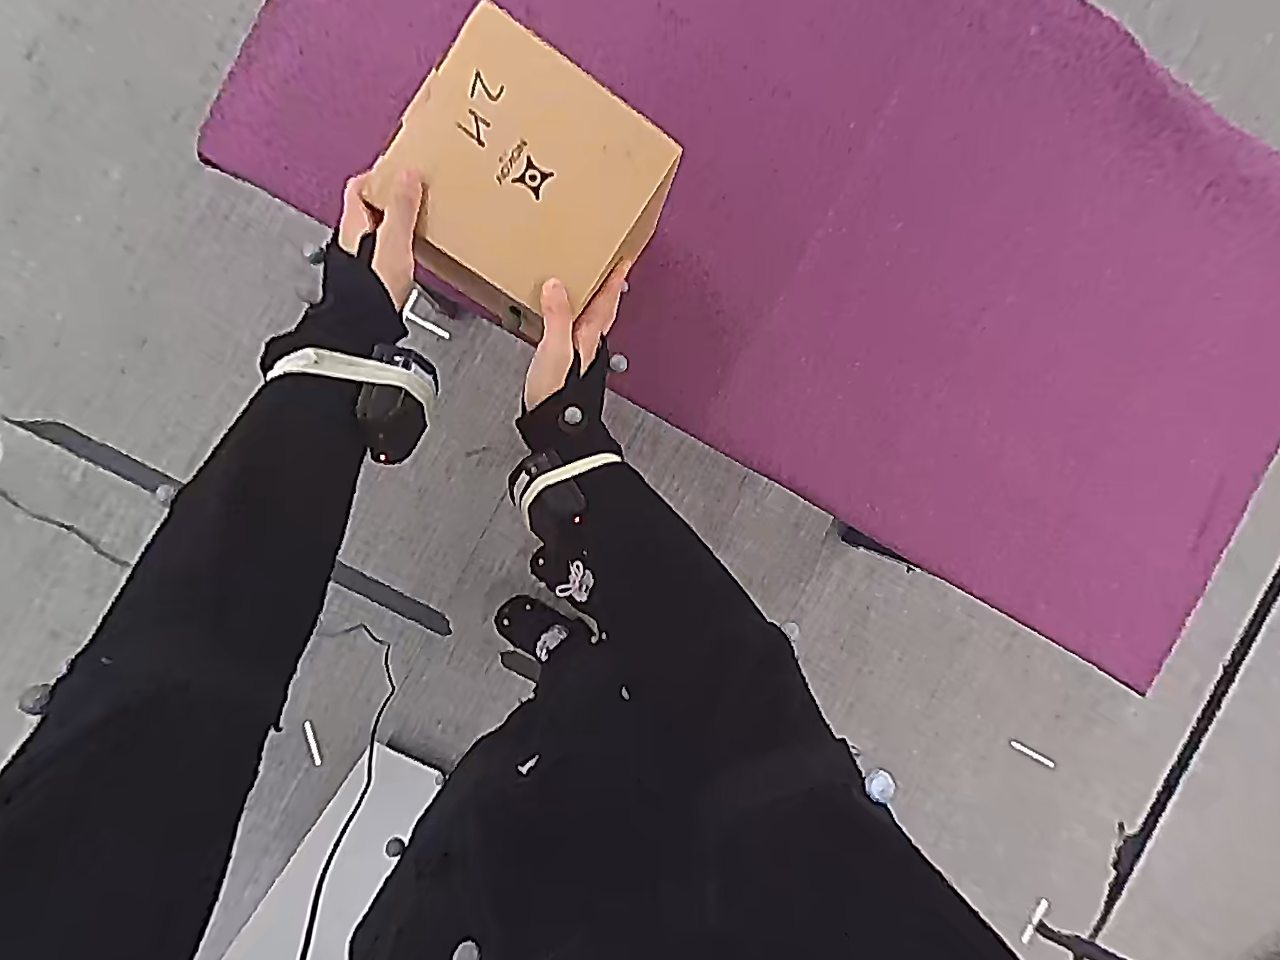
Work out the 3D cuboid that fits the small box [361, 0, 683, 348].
[{"bbox_3d":[-0.090,-0.232,0.469,0.179,0.176,0.168,33,90,-7],"label":"small box"}]
